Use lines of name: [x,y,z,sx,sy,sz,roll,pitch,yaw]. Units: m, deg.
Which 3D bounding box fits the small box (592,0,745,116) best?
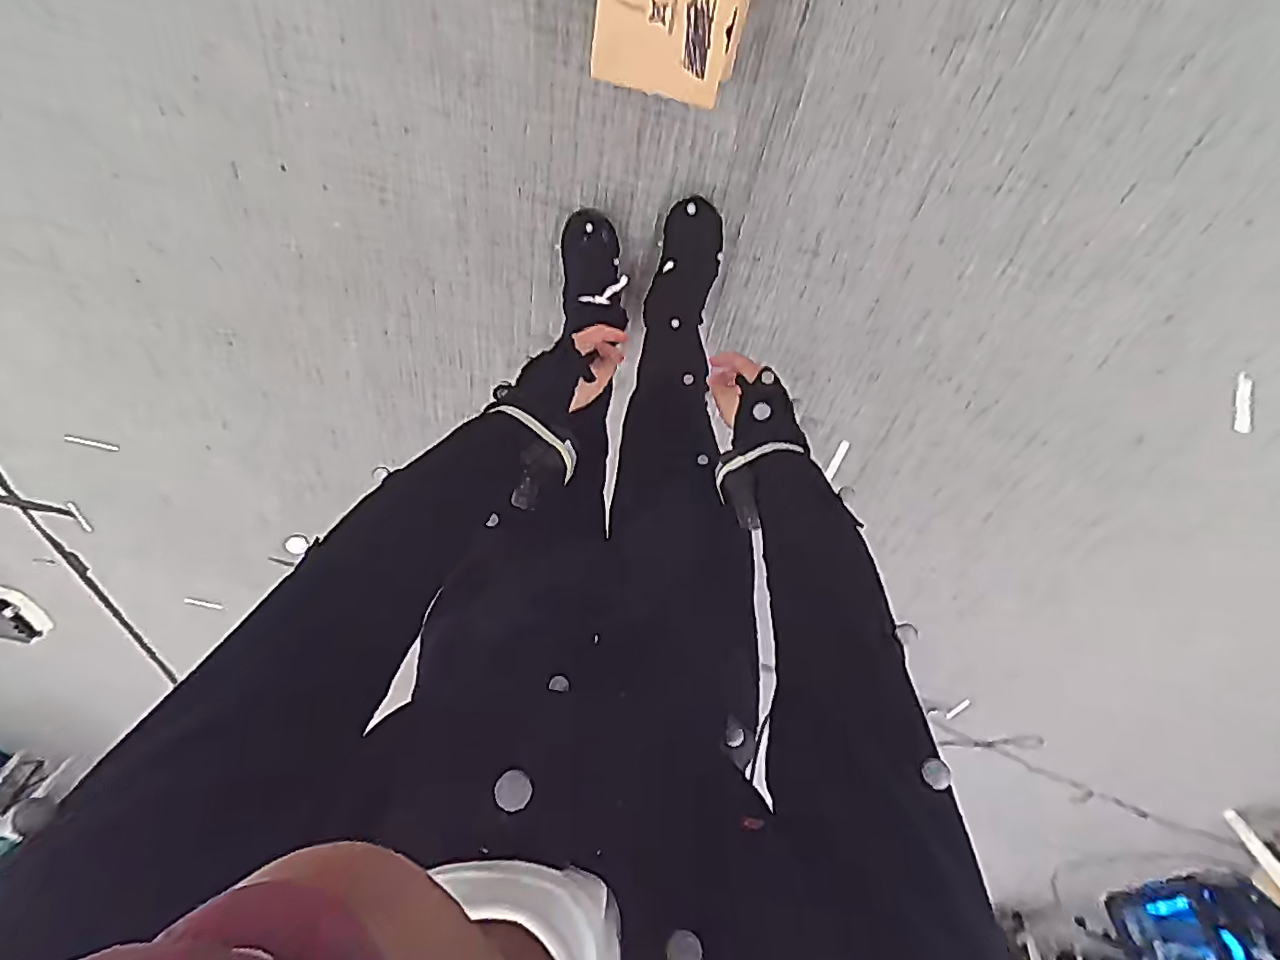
small box: [0.045,-0.633,0.748,0.179,0.176,0.168,14,132,-2]
